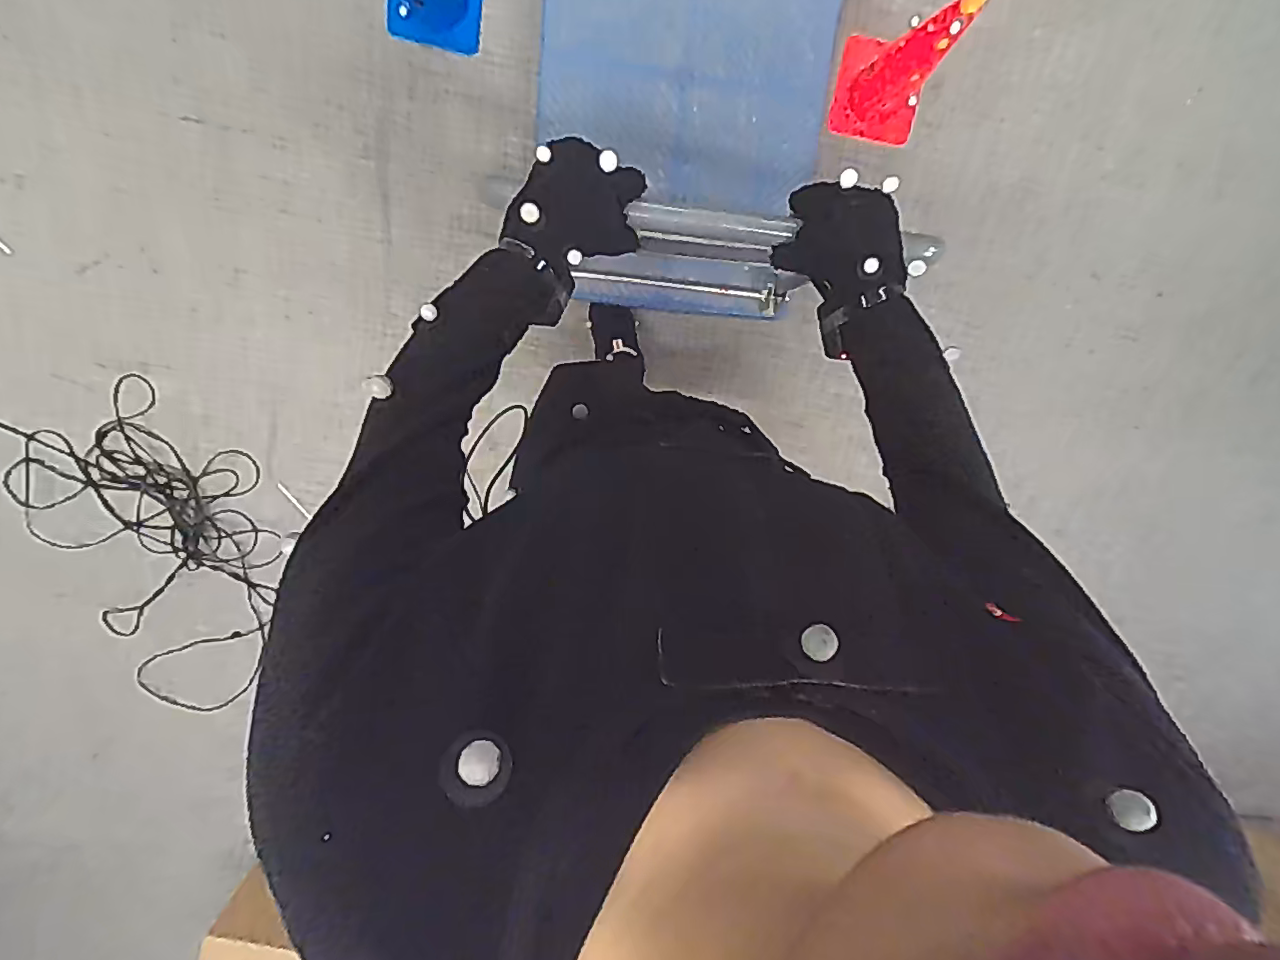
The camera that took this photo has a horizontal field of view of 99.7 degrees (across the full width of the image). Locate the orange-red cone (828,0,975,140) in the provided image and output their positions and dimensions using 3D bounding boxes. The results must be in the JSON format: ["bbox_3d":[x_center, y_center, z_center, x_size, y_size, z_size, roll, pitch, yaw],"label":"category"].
[{"bbox_3d":[0.552,-0.871,1.092,0.199,0.360,0.198,10,104,-3],"label":"orange-red cone"}]
